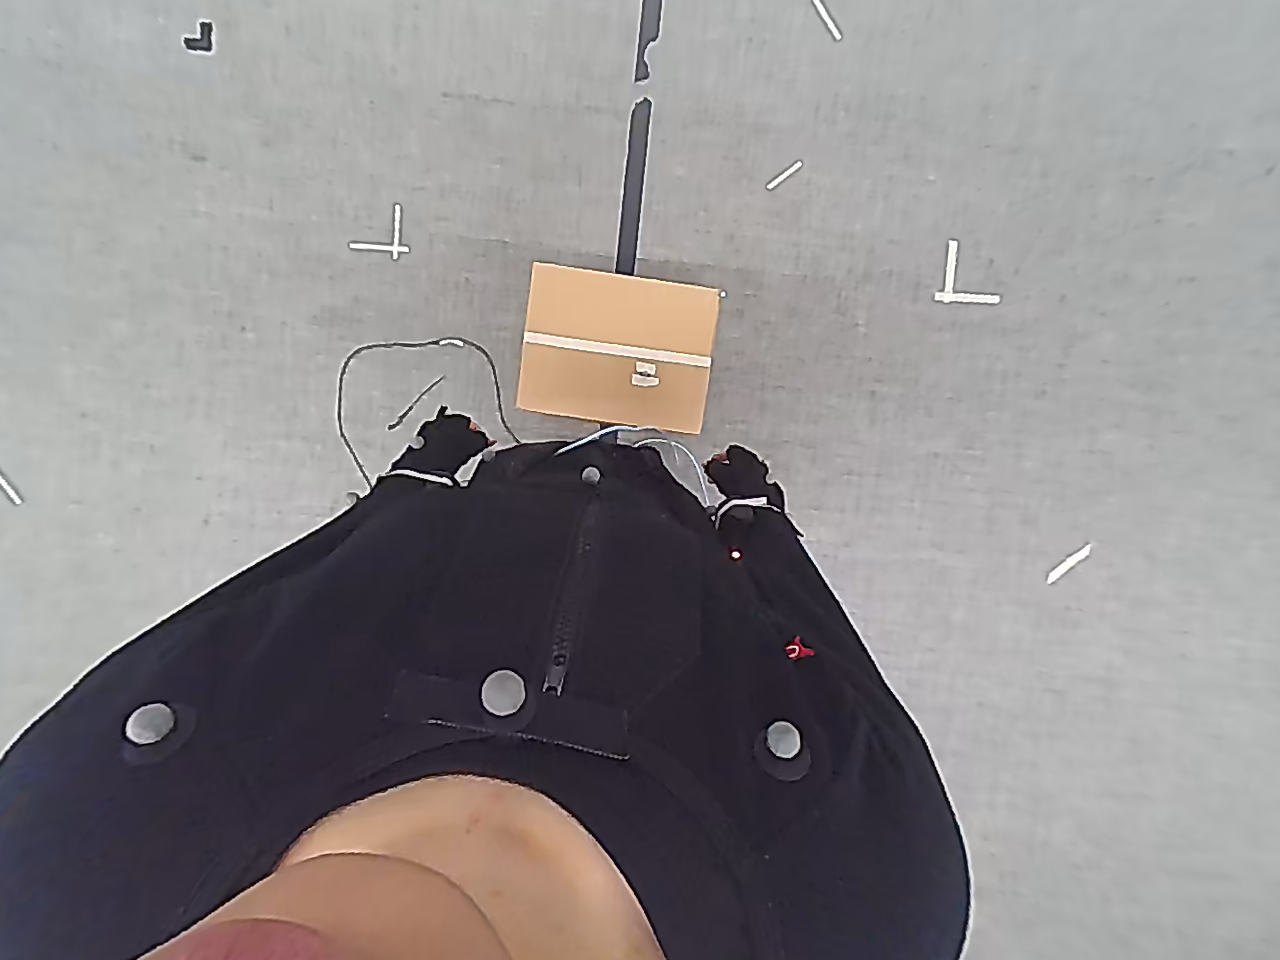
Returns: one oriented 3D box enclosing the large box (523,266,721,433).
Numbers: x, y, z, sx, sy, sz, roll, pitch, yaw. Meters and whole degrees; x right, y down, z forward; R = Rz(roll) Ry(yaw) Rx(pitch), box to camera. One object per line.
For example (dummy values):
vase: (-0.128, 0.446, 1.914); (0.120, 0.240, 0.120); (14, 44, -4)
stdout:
large box: (-0.046, -0.294, 1.316); (0.408, 0.320, 0.320); (8, 95, -2)
